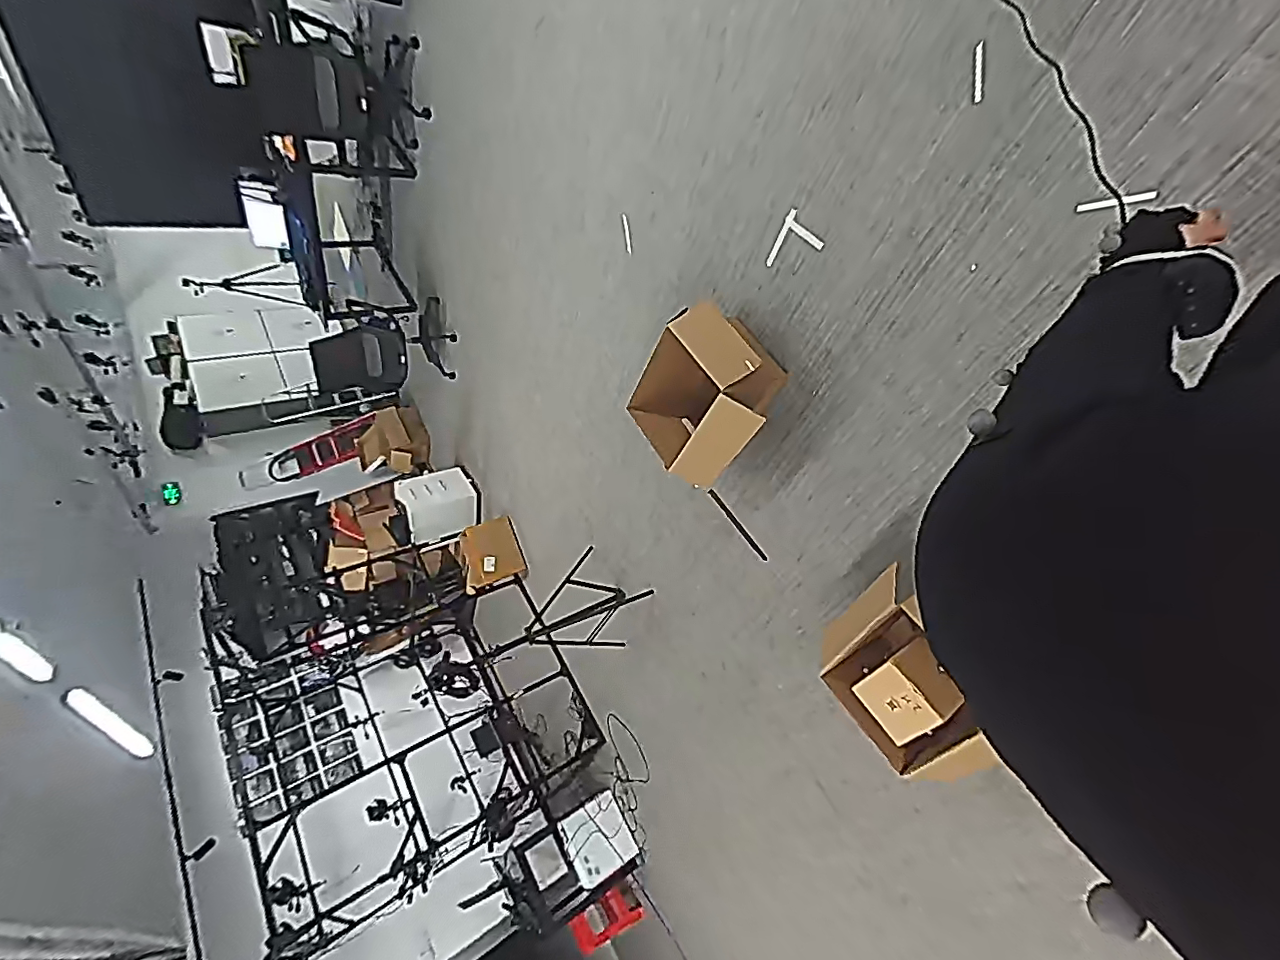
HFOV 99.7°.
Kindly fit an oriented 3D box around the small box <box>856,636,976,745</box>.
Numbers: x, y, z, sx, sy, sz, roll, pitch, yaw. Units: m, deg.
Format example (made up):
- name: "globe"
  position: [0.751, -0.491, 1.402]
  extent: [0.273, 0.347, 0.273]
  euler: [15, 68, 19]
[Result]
- name: "small box"
  position: [0.691, 0.523, 1.352]
  extent: [0.168, 0.176, 0.179]
  euler: [53, 142, 27]
